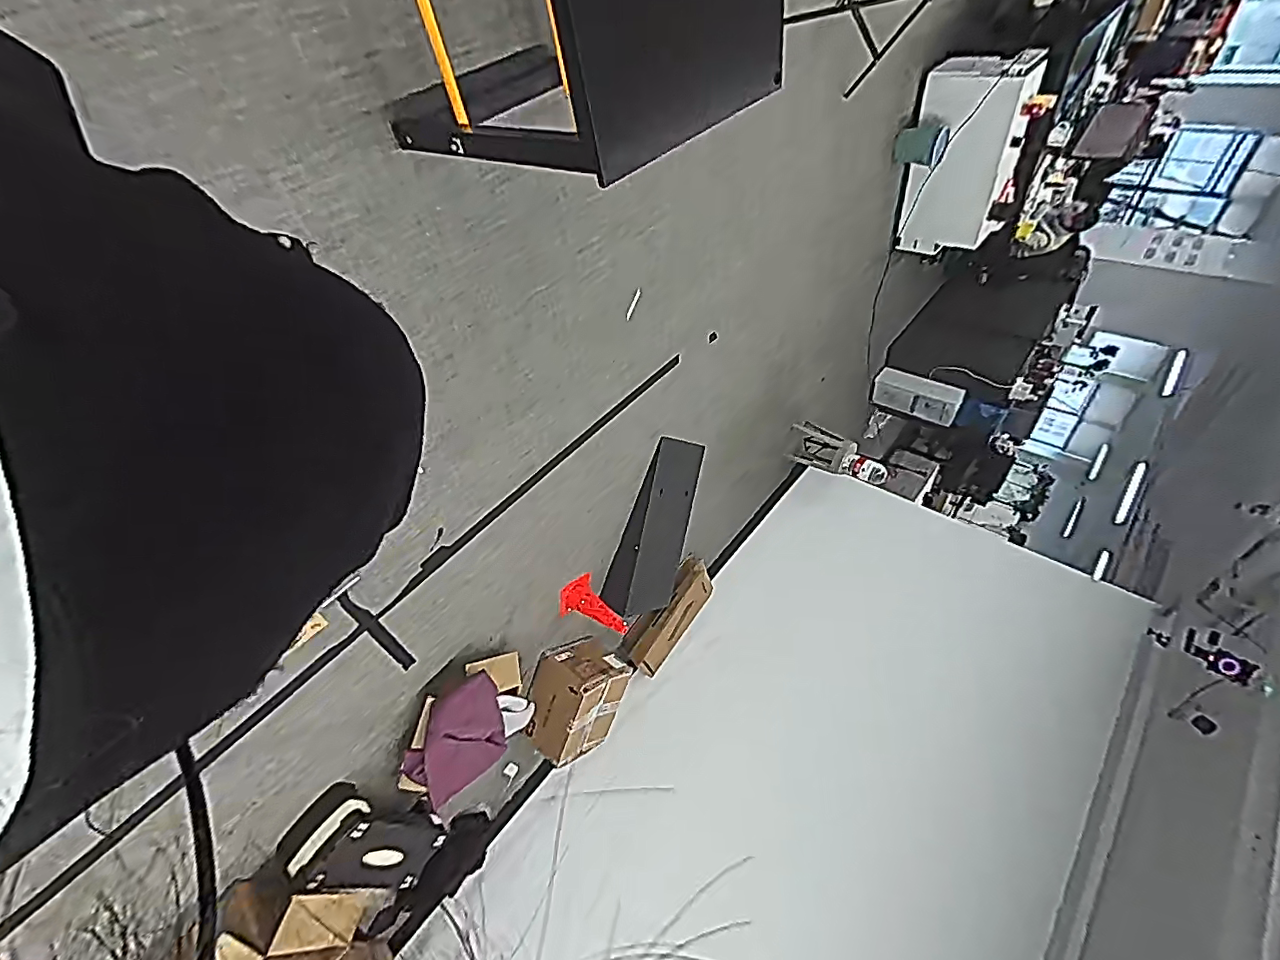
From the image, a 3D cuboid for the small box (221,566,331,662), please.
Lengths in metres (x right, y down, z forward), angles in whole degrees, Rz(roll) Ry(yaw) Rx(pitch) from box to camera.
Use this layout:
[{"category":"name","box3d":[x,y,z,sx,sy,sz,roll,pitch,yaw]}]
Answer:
[{"category":"small box","box3d":[-1.021,0.365,1.514,0.168,0.176,0.179,-42,142,-28]}]
